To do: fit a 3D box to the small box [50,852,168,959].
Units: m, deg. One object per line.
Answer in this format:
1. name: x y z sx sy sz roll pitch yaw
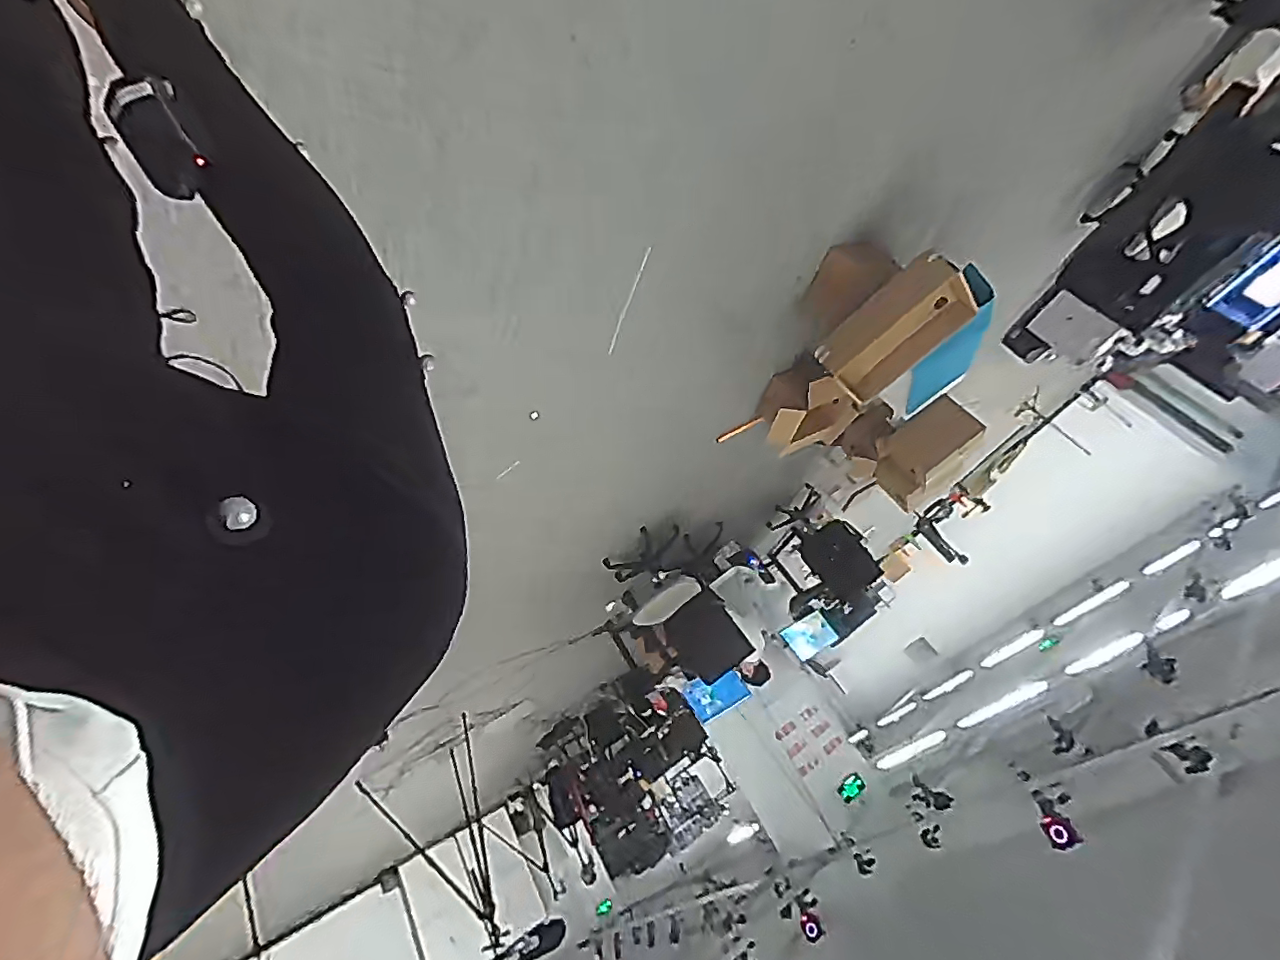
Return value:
1. small box: -1.262 1.028 1.289 0.168 0.176 0.179 -14 146 -34
